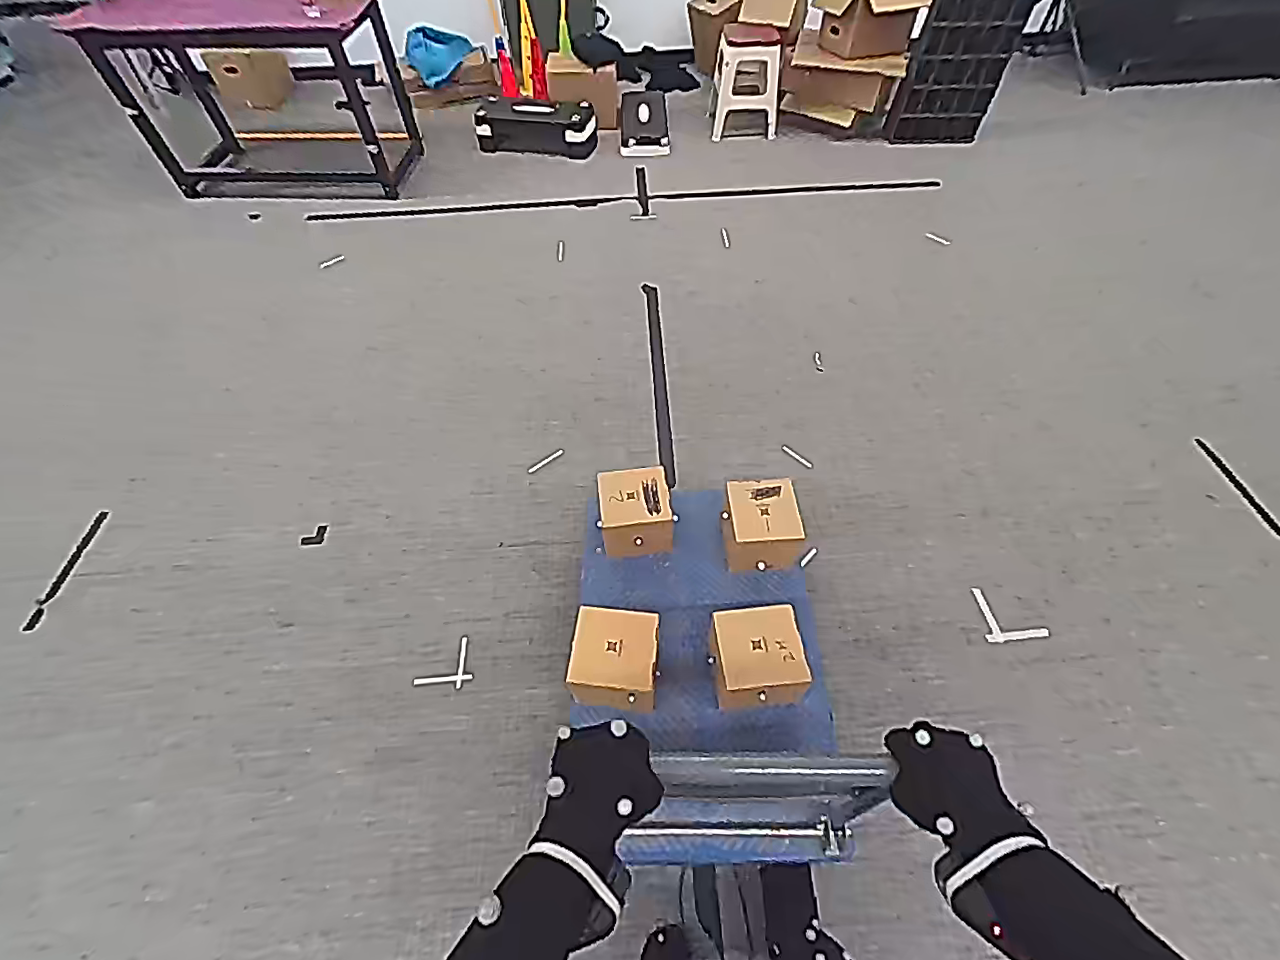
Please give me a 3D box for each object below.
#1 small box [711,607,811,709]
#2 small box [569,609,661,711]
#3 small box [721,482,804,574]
[{"bbox_3d":[0.256,0.397,1.195,0.179,0.176,0.168,-5,54,-2],"label":"small box"},{"bbox_3d":[-0.049,0.403,1.201,0.179,0.176,0.168,5,54,3],"label":"small box"},{"bbox_3d":[0.307,0.124,1.391,0.168,0.176,0.179,-3,55,0],"label":"small box"}]
